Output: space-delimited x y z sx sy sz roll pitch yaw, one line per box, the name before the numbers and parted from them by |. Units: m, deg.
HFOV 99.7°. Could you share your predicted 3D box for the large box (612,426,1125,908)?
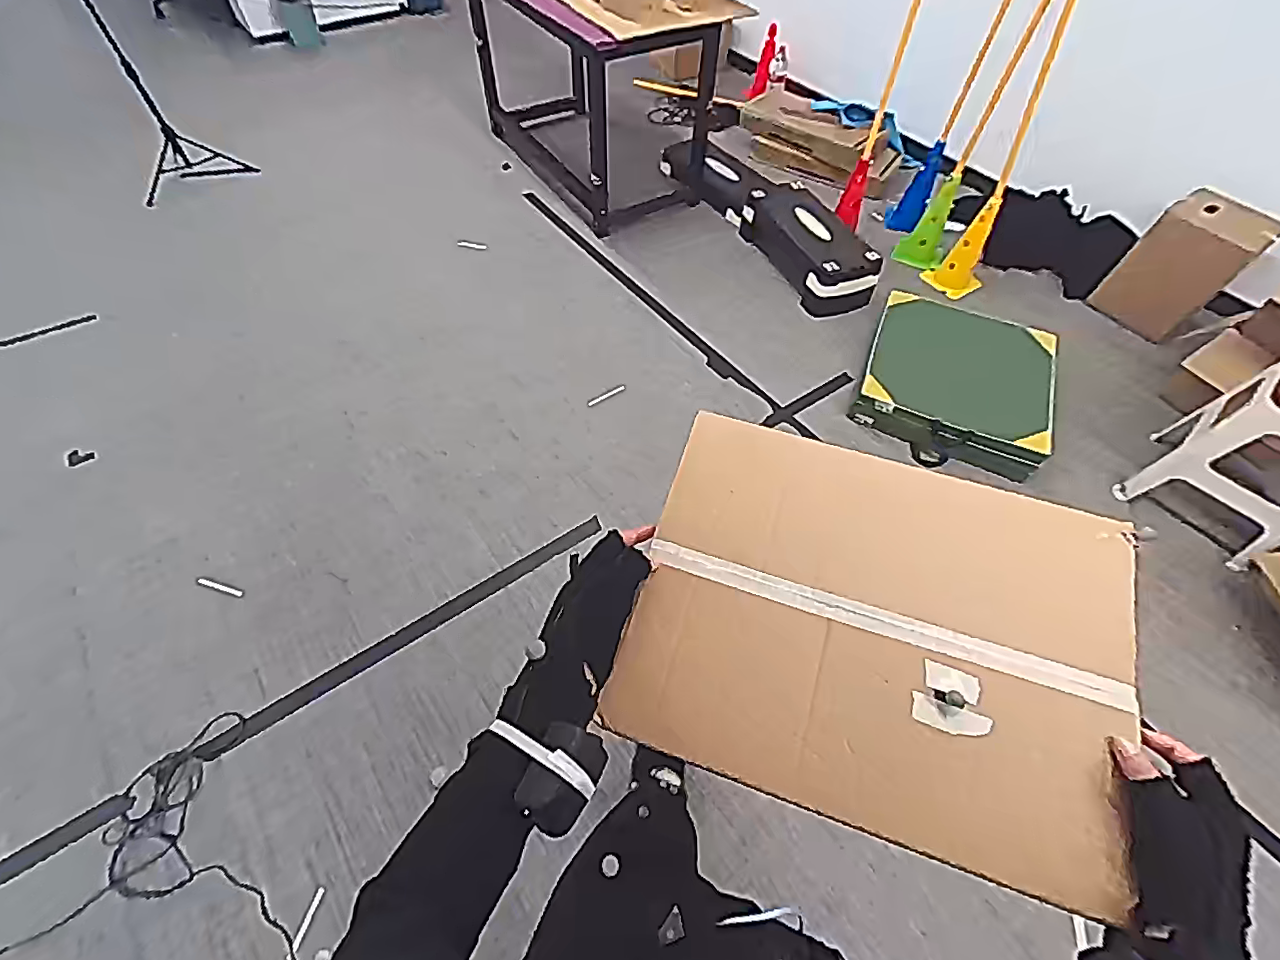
large box | 0.214 0.186 0.615 0.408 0.320 0.320 17 69 10
